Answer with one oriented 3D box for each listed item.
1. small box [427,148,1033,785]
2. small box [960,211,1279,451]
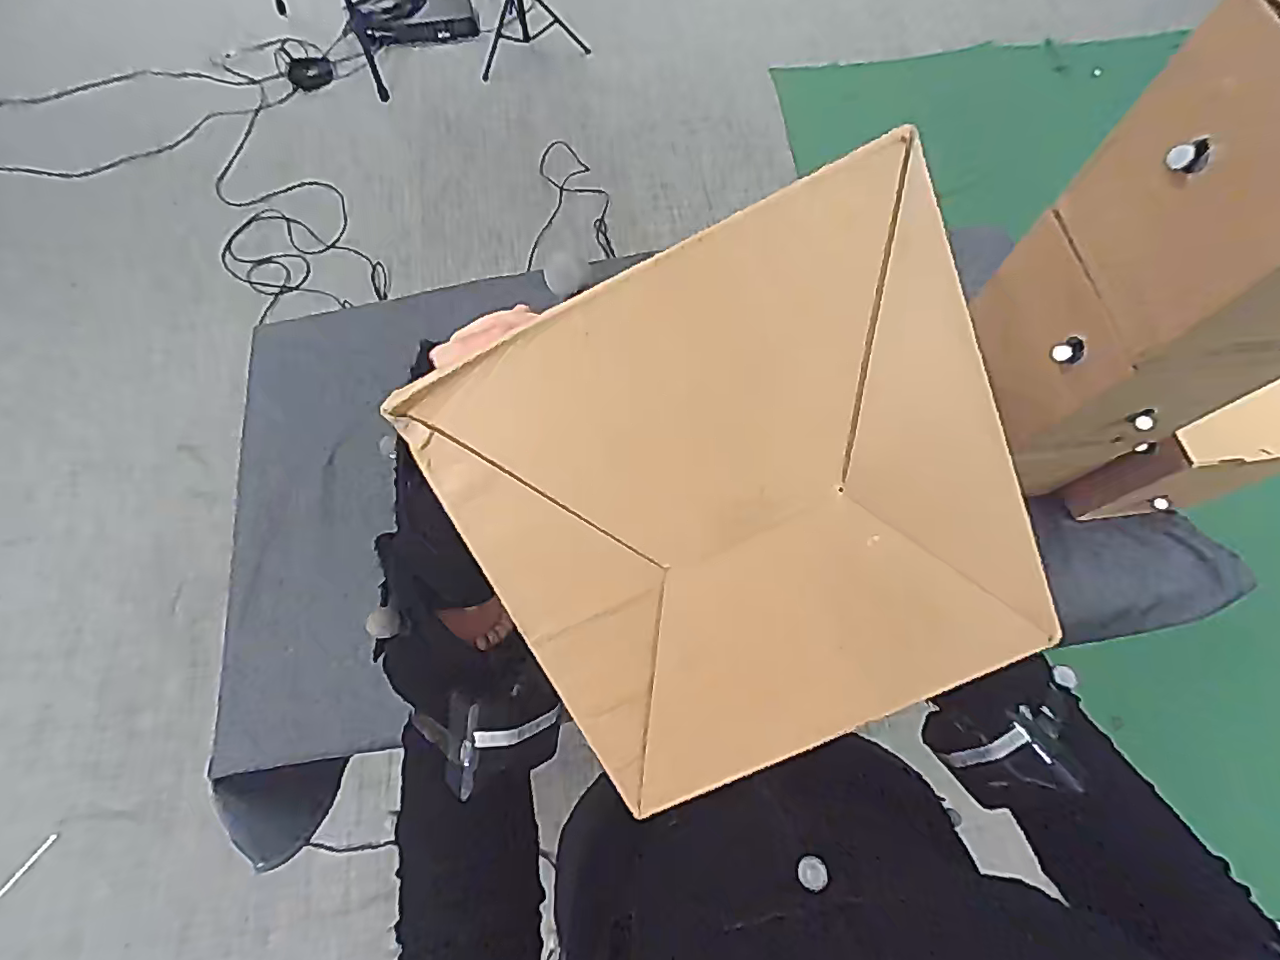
[{"bbox_3d":[0.033,-0.007,0.250,0.168,0.176,0.179,-26,105,3],"label":"small box"},{"bbox_3d":[0.453,-0.137,0.527,0.168,0.176,0.179,-6,67,-1],"label":"small box"}]
